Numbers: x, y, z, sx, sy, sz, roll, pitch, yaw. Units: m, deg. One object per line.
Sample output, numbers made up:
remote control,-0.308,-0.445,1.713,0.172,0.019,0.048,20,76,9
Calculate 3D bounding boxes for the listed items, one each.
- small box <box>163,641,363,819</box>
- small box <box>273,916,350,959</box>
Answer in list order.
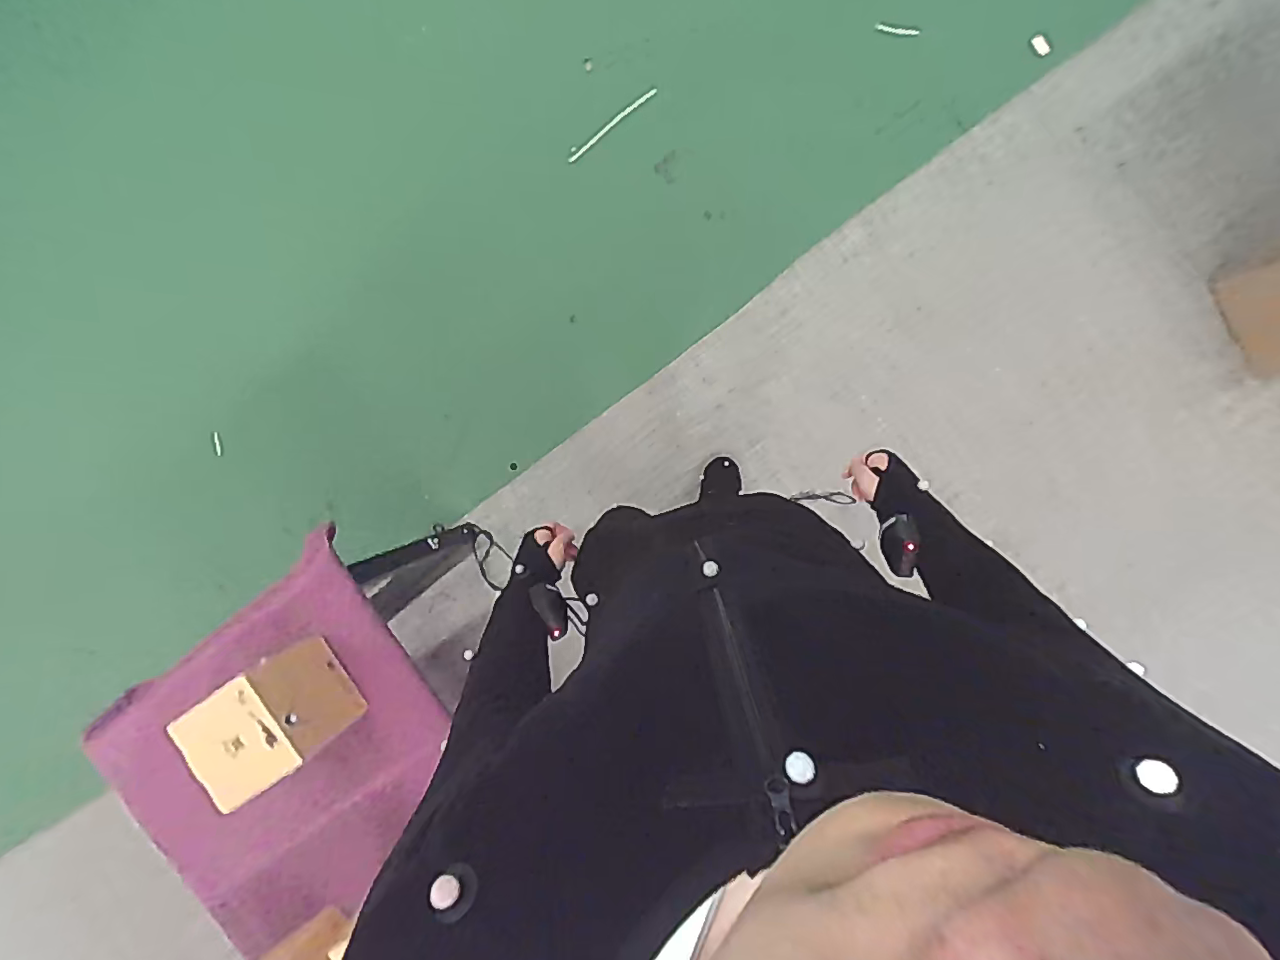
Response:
small box,-0.609,0.402,0.897,0.179,0.176,0.168,-34,92,9
small box,-0.594,0.925,0.935,0.179,0.176,0.168,-38,89,6
